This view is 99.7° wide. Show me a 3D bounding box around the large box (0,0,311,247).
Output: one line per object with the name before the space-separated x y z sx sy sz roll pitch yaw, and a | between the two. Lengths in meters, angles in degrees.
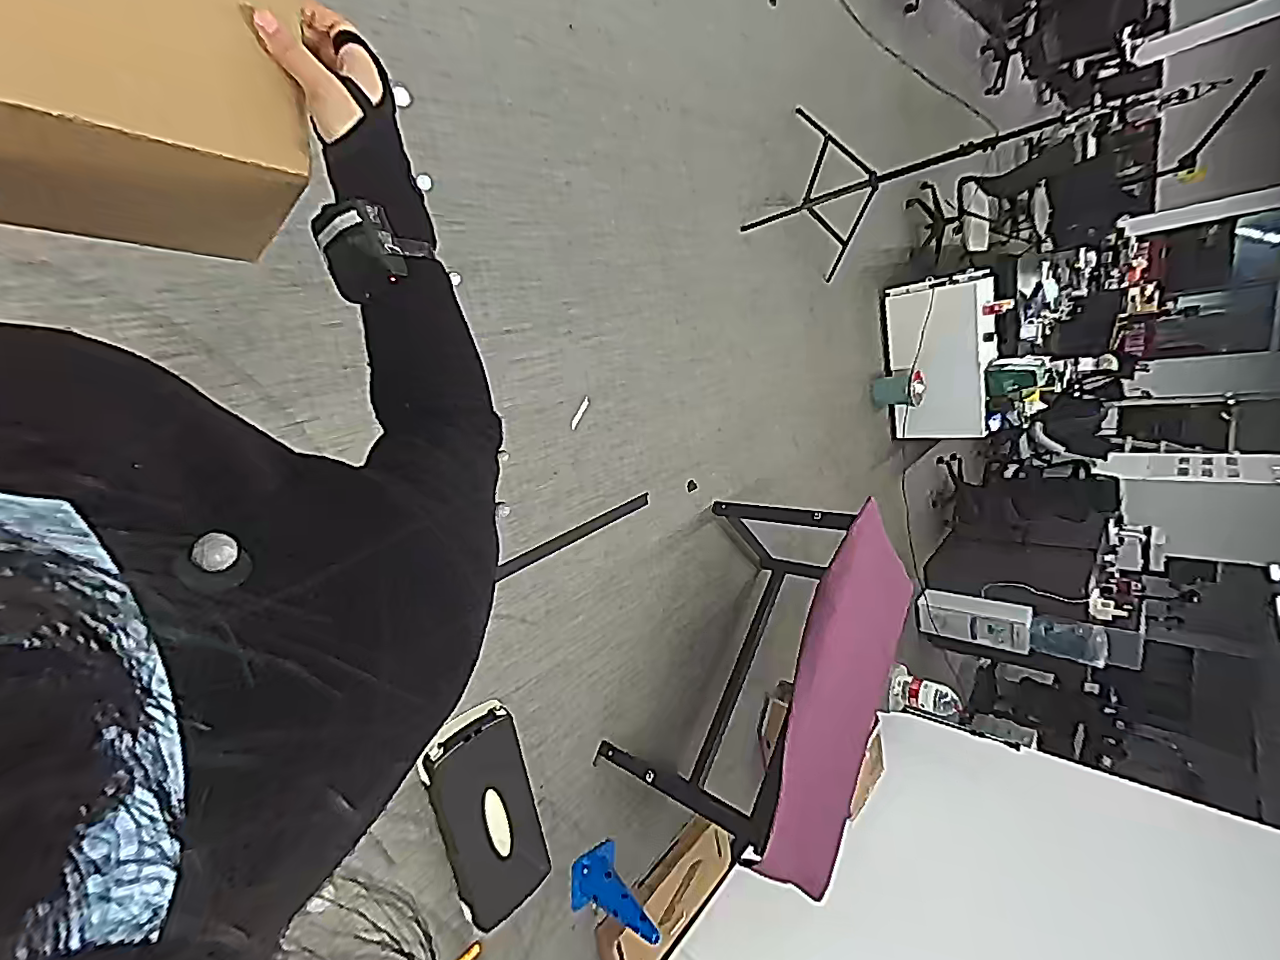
large box | -0.508 -0.390 0.391 0.408 0.320 0.320 -7 98 -40
